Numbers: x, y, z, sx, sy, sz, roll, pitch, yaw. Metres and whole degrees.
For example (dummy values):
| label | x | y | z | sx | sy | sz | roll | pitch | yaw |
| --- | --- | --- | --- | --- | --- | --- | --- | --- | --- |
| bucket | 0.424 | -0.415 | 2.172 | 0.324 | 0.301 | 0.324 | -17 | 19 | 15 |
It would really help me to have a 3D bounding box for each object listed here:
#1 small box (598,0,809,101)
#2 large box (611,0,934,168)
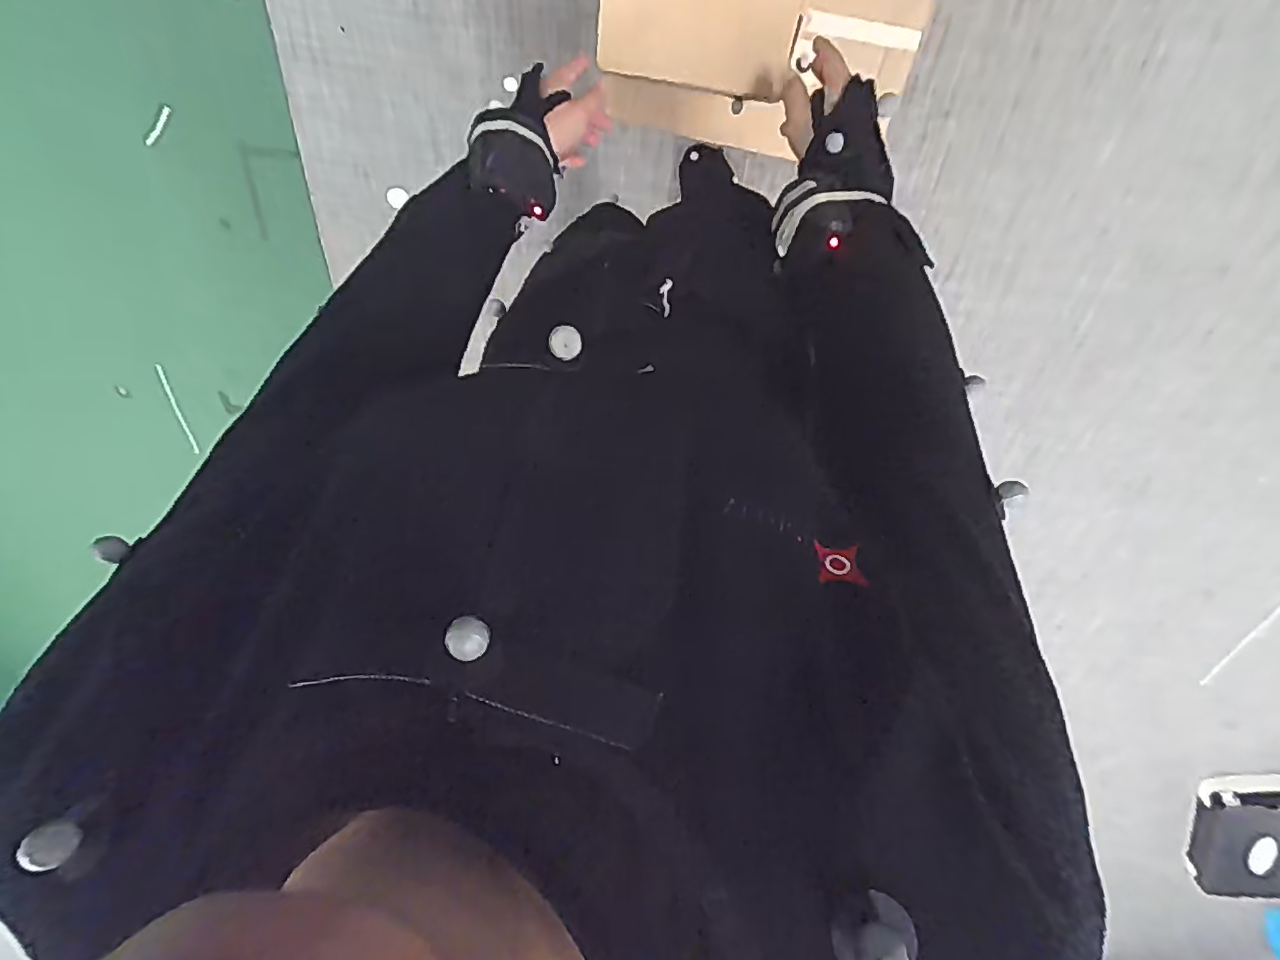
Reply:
| label | x | y | z | sx | sy | sz | roll | pitch | yaw |
| --- | --- | --- | --- | --- | --- | --- | --- | --- | --- |
| small box | 0.070 | -0.469 | 0.509 | 0.179 | 0.176 | 0.168 | 11 | 125 | 3 |
| large box | 0.191 | -0.699 | 0.828 | 0.408 | 0.320 | 0.320 | 13 | 126 | 1 |
